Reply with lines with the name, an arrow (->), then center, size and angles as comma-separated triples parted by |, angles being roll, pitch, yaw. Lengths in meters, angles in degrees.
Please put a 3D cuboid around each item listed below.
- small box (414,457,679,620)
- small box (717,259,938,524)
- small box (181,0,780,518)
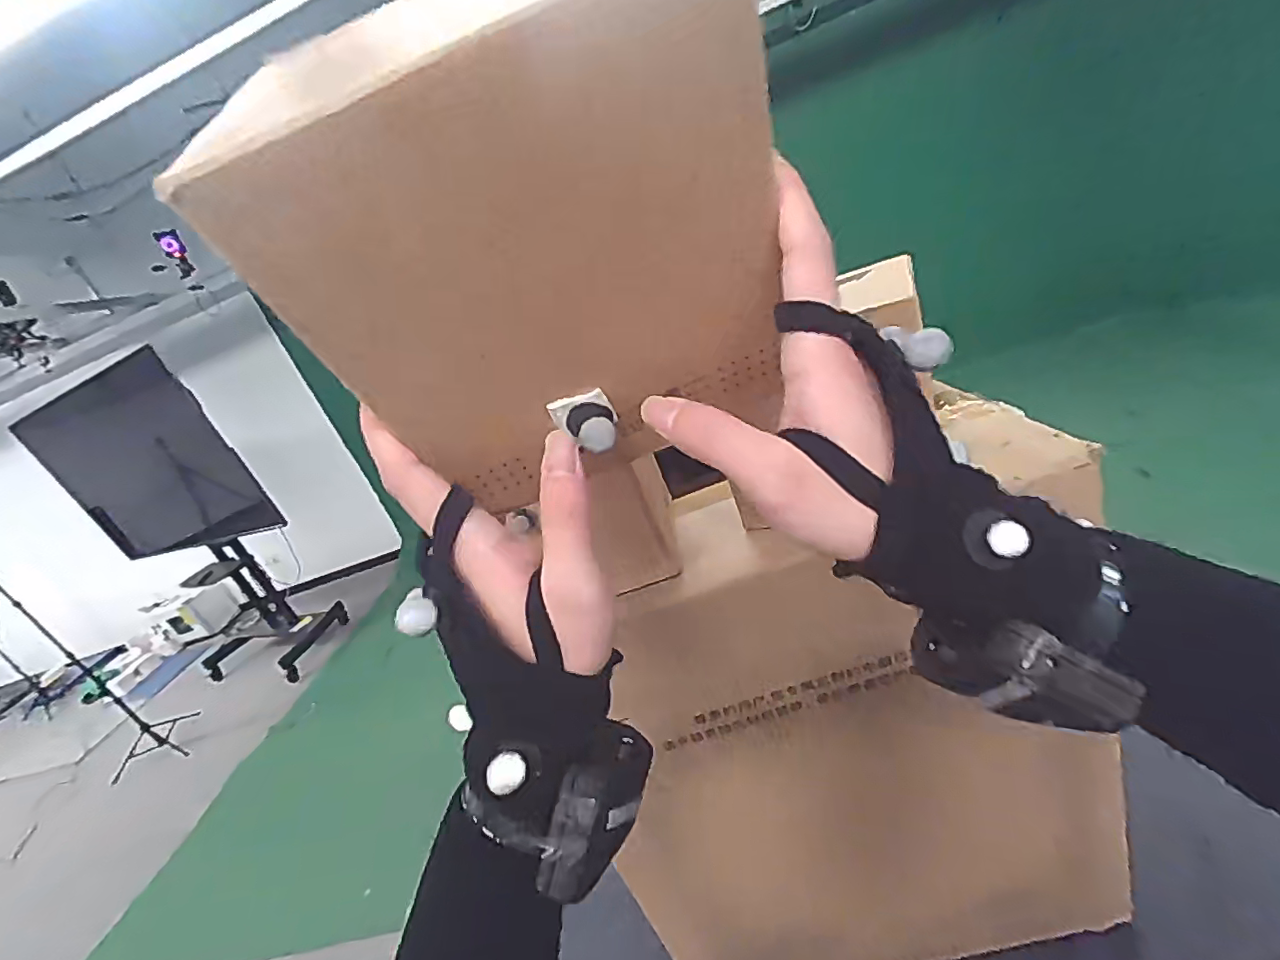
small box -> -0.076, 0.009, 0.531 | 0.179, 0.176, 0.168 | -22, 22, 9
small box -> 0.165, -0.079, 0.494 | 0.168, 0.176, 0.179 | -9, 26, 29
small box -> -0.050, -0.114, 0.255 | 0.168, 0.176, 0.179 | -25, 51, 2
